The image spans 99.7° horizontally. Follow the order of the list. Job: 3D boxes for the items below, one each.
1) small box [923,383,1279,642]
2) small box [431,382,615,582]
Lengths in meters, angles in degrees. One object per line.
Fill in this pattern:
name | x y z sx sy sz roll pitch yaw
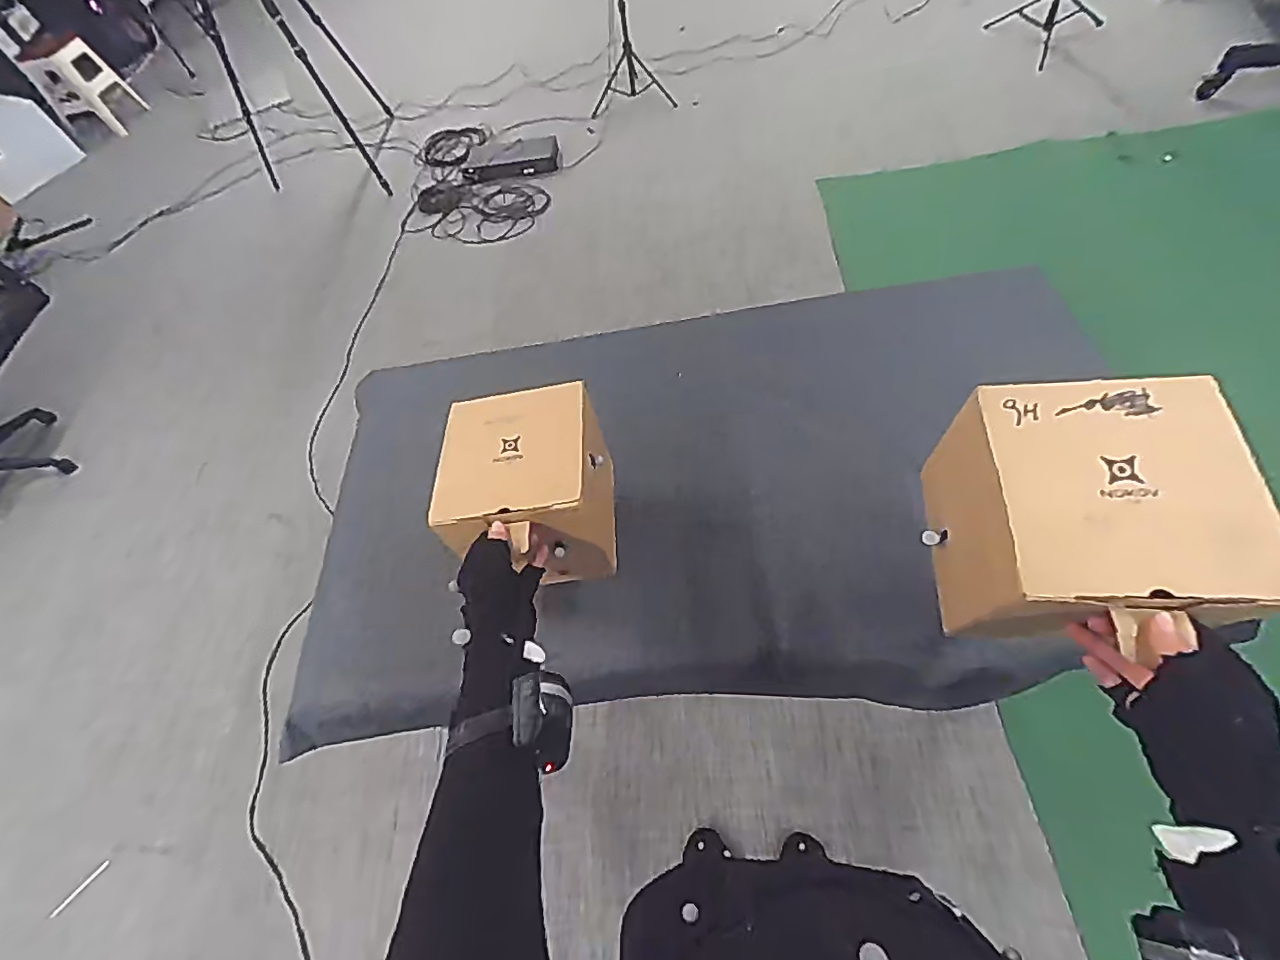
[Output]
small box | 0.360 0.039 0.459 0.168 0.176 0.179 -1 66 10
small box | -0.127 0.012 0.660 0.168 0.176 0.179 -9 52 5
